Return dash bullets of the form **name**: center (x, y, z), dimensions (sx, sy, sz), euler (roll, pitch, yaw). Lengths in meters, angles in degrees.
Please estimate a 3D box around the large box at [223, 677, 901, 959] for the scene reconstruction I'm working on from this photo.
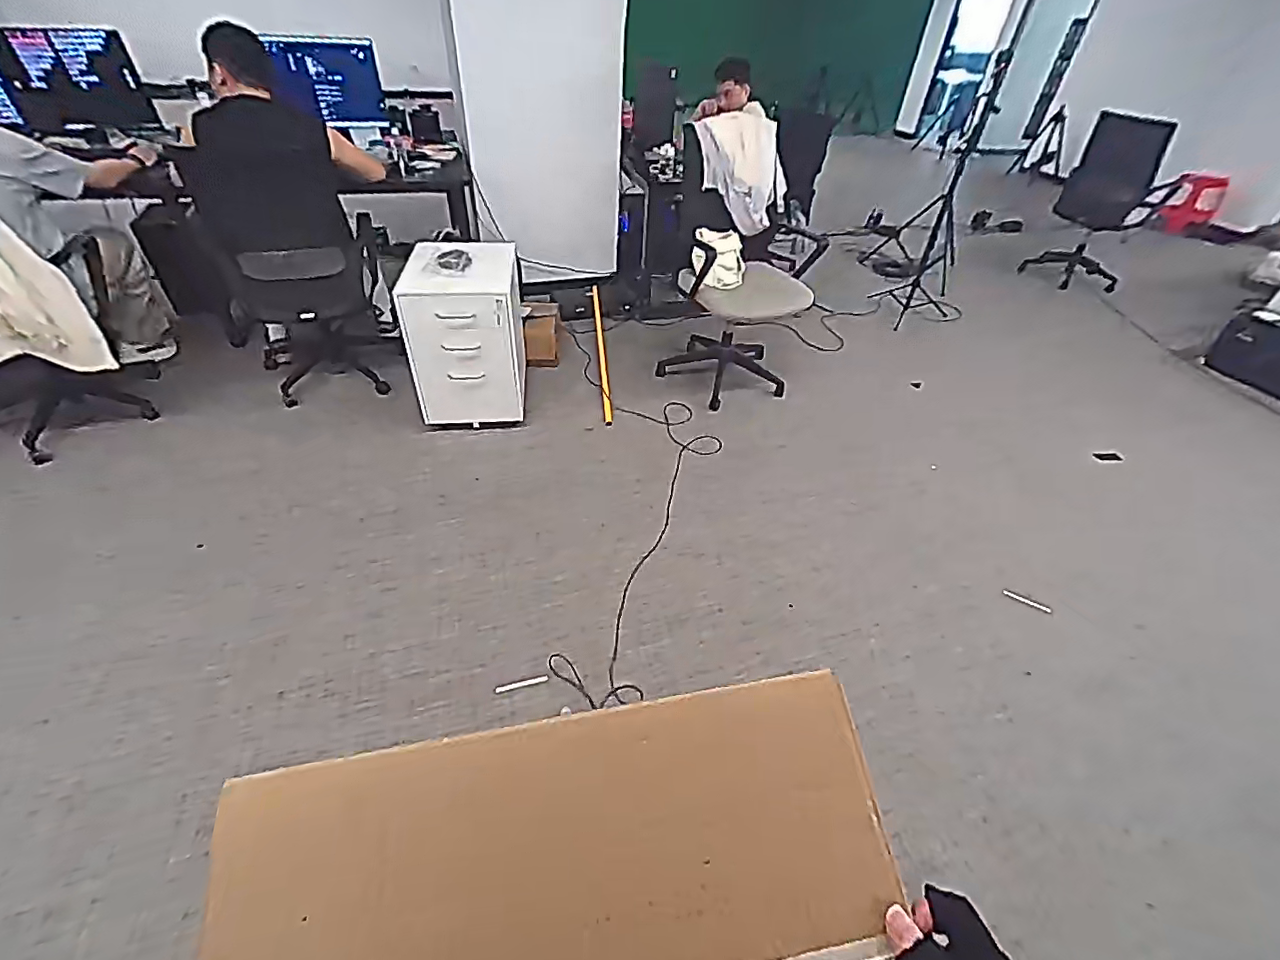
- **large box**: center (-0.041, 0.370, 0.446), dimensions (0.408, 0.320, 0.320), euler (-8, 65, -6)
